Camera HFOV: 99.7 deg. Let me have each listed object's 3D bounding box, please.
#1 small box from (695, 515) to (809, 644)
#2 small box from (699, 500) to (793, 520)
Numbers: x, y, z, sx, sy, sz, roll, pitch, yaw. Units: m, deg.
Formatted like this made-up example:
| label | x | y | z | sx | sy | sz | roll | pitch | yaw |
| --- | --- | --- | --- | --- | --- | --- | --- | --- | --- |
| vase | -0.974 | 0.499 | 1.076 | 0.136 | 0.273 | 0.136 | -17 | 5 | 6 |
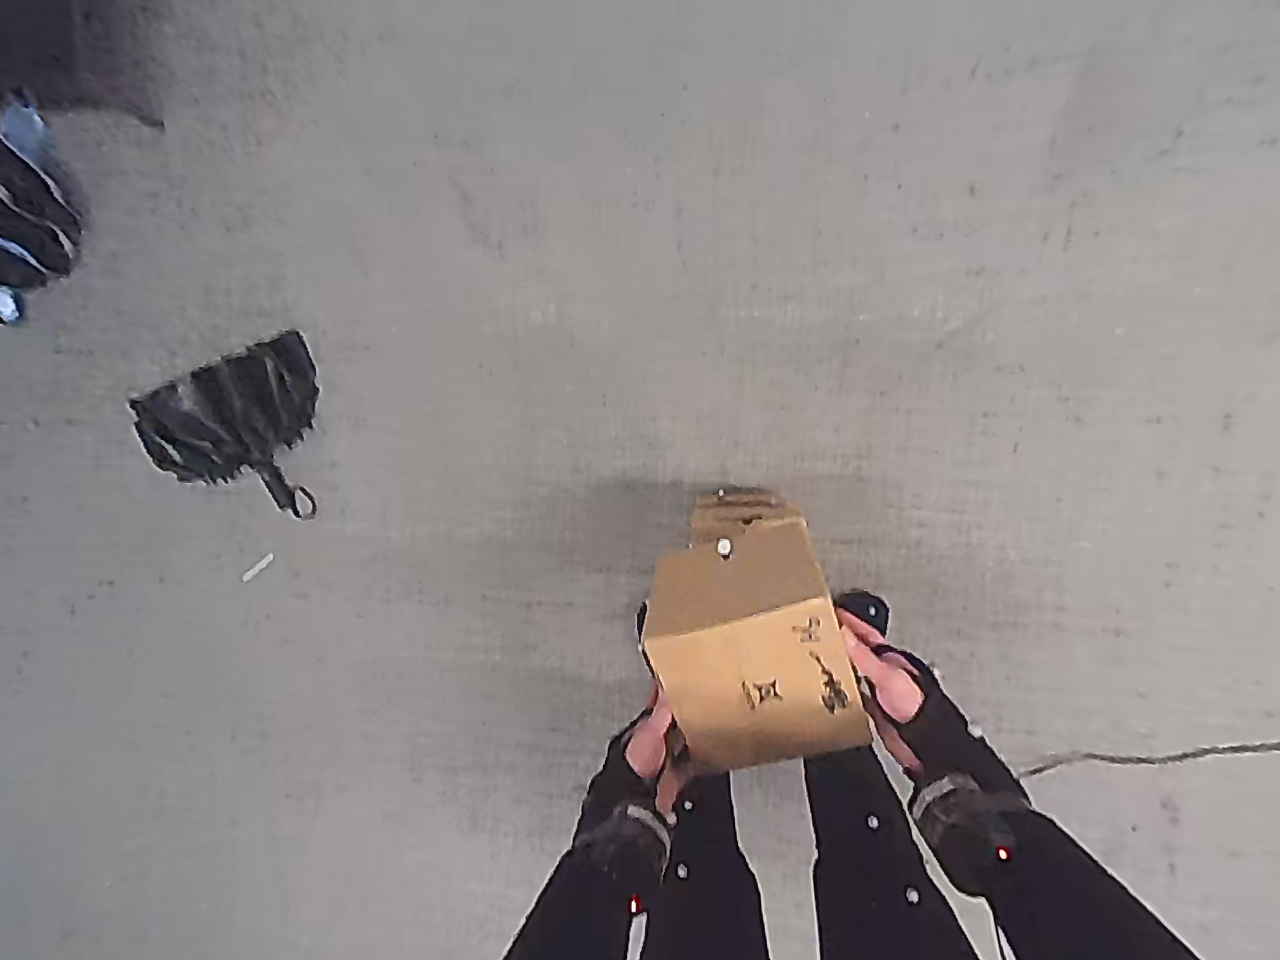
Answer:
| label | x | y | z | sx | sy | sz | roll | pitch | yaw |
| --- | --- | --- | --- | --- | --- | --- | --- | --- | --- |
| small box | 0.172 | 0.149 | 0.866 | 0.168 | 0.176 | 0.179 | -2 | 94 | 8 |
| small box | 0.196 | 0.131 | 1.028 | 0.168 | 0.176 | 0.179 | -2 | 95 | 8 |
